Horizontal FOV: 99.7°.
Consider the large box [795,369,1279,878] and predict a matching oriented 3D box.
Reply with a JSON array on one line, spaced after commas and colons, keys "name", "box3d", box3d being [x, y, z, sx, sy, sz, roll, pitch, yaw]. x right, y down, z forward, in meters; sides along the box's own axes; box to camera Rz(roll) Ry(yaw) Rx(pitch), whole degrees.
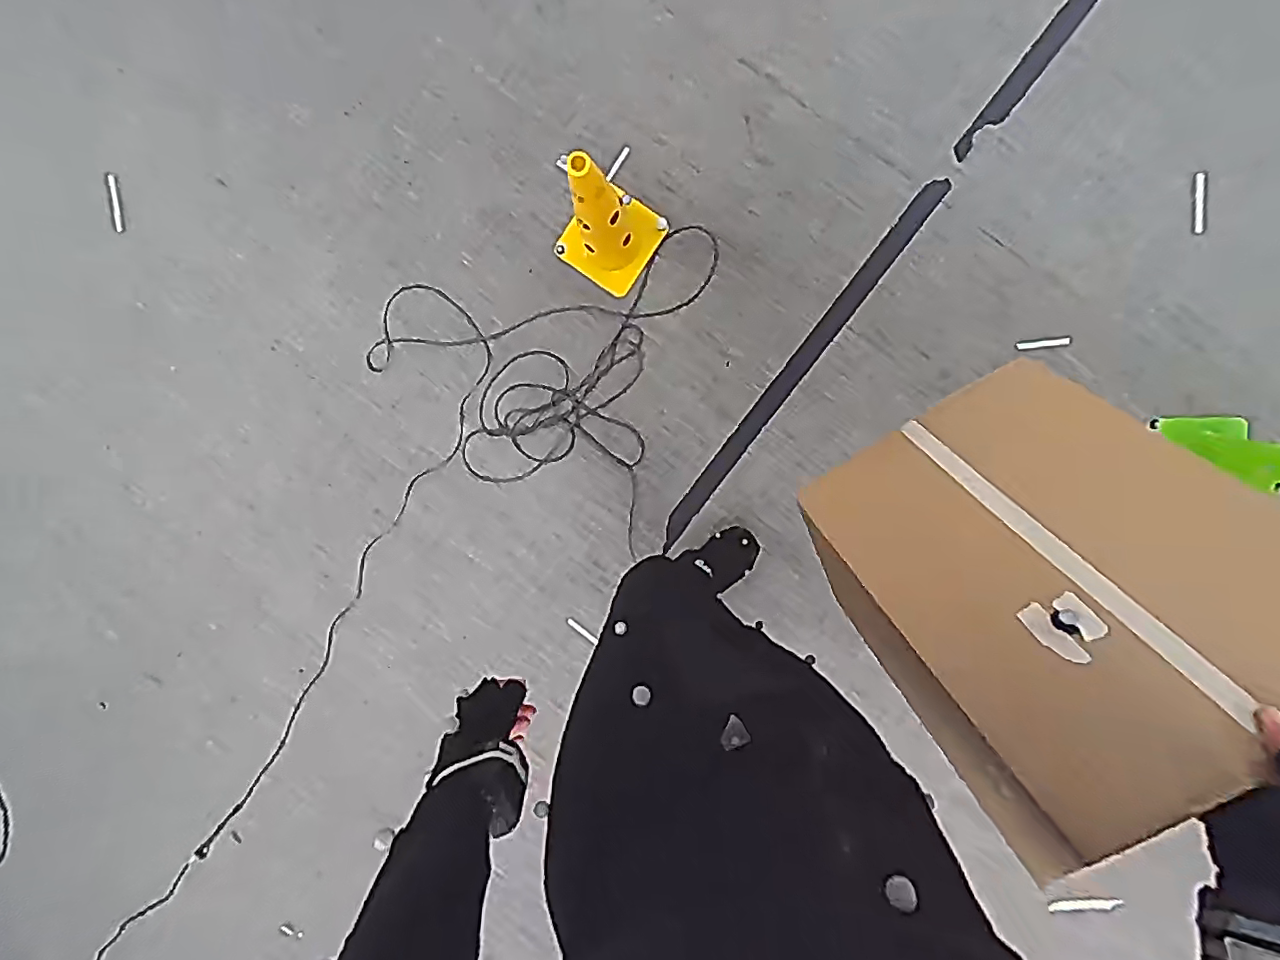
[{"name": "large box", "box3d": [0.440, 0.152, 0.617, 0.320, 0.408, 0.320, -32, 135, 5]}]

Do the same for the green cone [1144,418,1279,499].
[{"name": "green cone", "box3d": [1.164, -0.012, 0.981, 0.202, 0.368, 0.200, -1, 96, 5]}]
